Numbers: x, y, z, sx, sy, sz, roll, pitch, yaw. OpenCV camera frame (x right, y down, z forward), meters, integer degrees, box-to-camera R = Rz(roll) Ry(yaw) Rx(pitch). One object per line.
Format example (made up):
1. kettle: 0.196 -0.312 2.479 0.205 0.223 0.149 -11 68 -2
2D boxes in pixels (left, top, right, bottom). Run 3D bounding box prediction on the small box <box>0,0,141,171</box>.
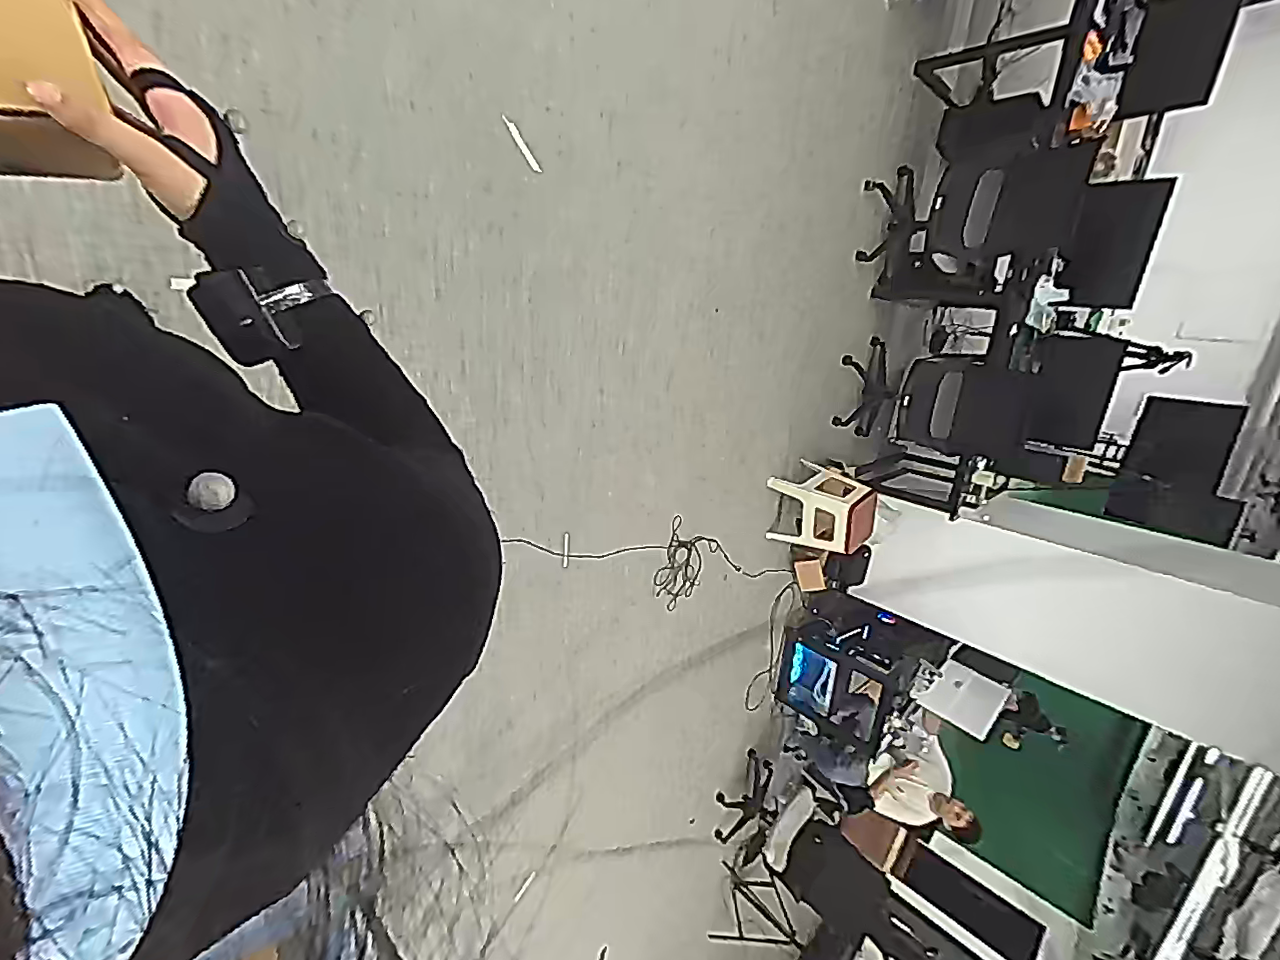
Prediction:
1. small box: -0.442 -0.307 0.327 0.168 0.176 0.179 -21 116 -37
